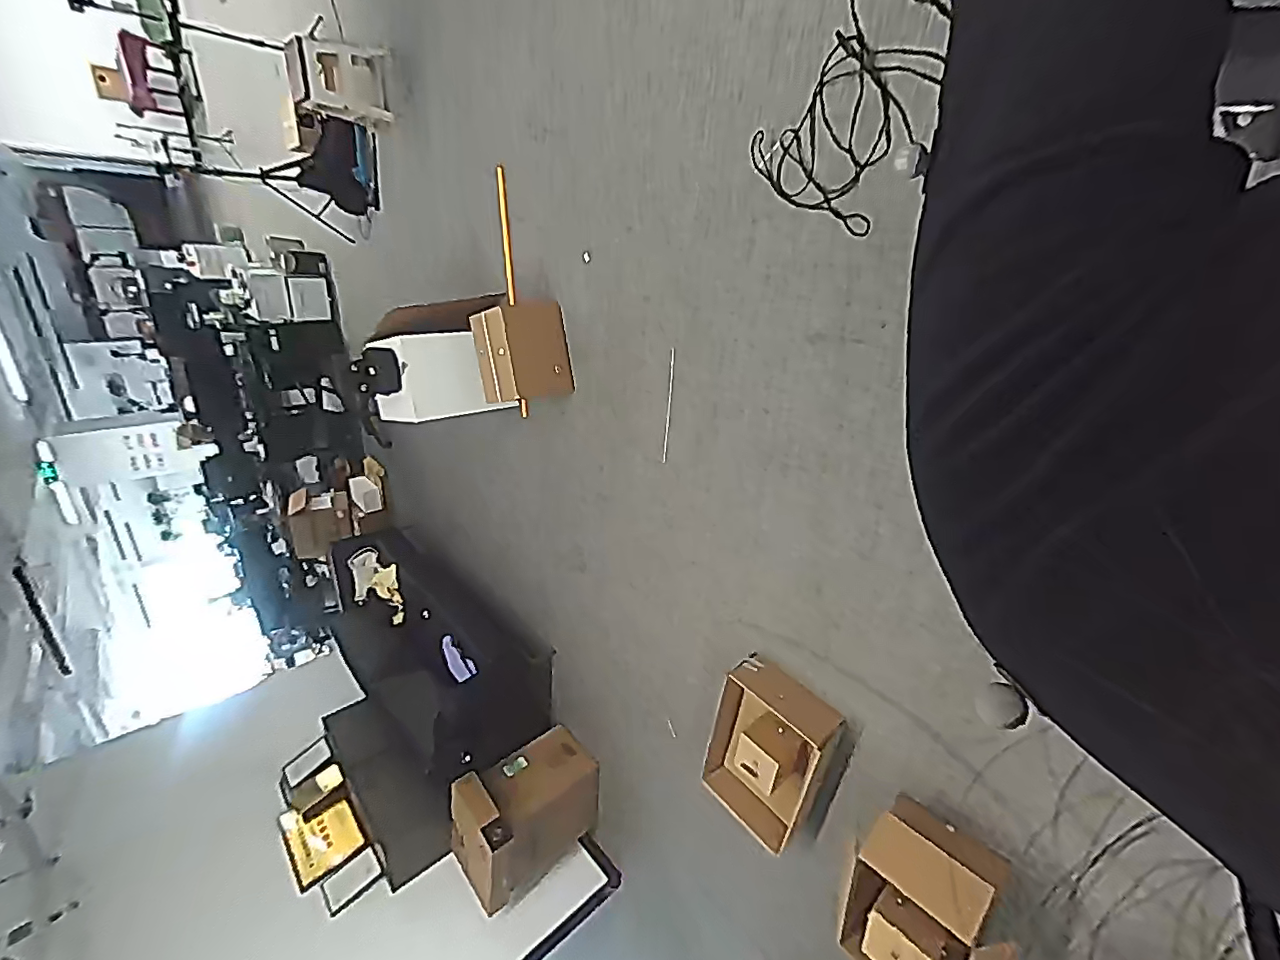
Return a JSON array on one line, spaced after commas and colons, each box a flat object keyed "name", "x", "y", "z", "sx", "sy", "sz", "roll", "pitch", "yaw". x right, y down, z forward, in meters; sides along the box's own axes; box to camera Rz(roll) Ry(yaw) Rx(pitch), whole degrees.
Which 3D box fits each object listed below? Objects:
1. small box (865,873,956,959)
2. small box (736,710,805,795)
[{"name": "small box", "x": 0.761, "y": 1.266, "z": 1.517, "sx": 0.168, "sy": 0.176, "sz": 0.179, "roll": 21, "pitch": 117, "yaw": 44}, {"name": "small box", "x": 0.474, "y": 0.980, "z": 1.956, "sx": 0.168, "sy": 0.176, "sz": 0.179, "roll": 30, "pitch": 125, "yaw": 40}]
